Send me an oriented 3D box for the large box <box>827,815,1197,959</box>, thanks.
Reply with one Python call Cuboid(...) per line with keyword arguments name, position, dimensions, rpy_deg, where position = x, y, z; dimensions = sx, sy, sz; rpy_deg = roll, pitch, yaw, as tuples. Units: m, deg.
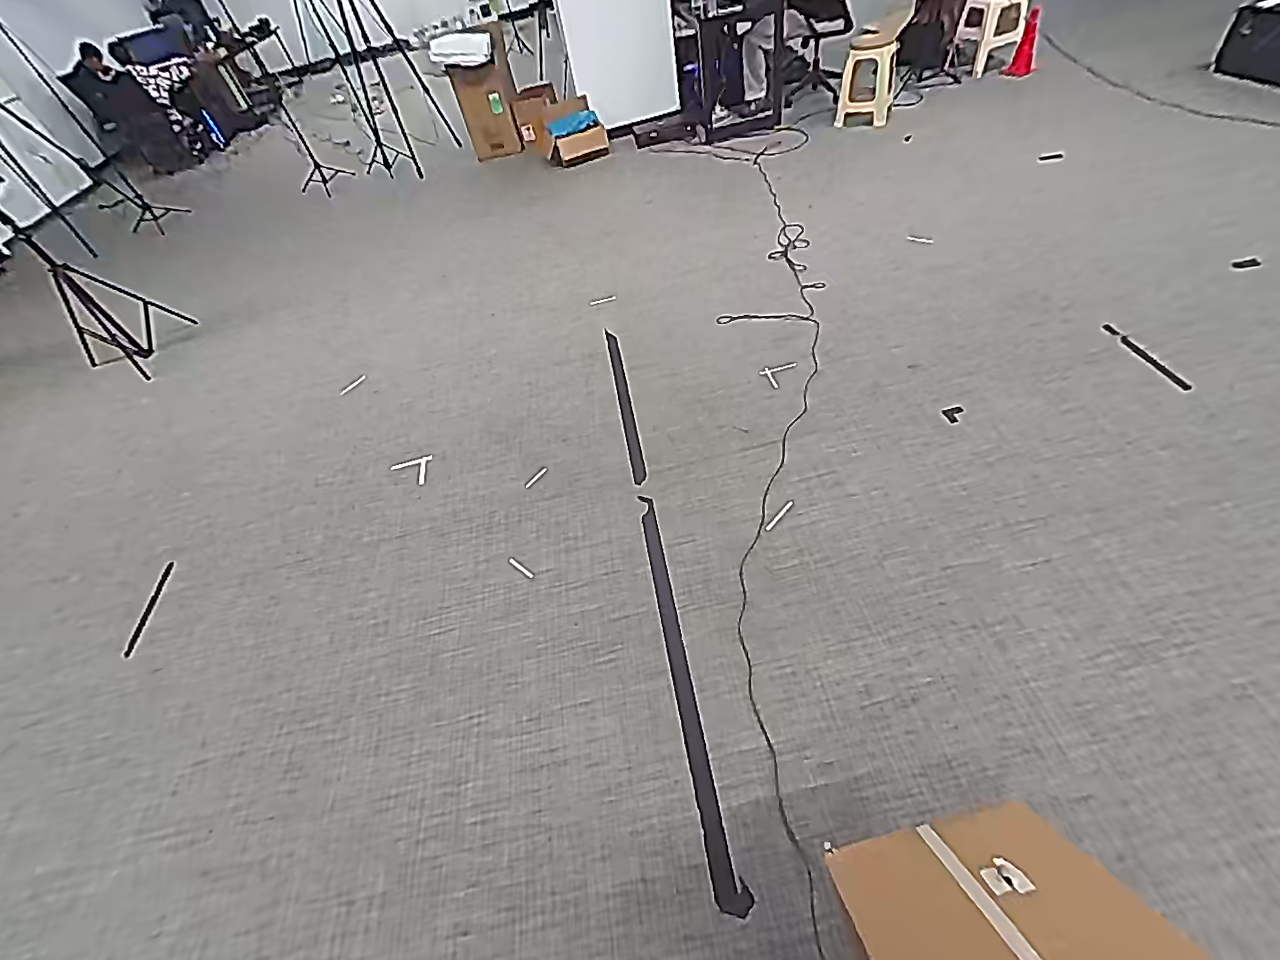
Cuboid(name="large box", position=(0.468, 0.682, 0.620), dimensions=(0.320, 0.408, 0.320), rpy_deg=(-15, 86, 1))
